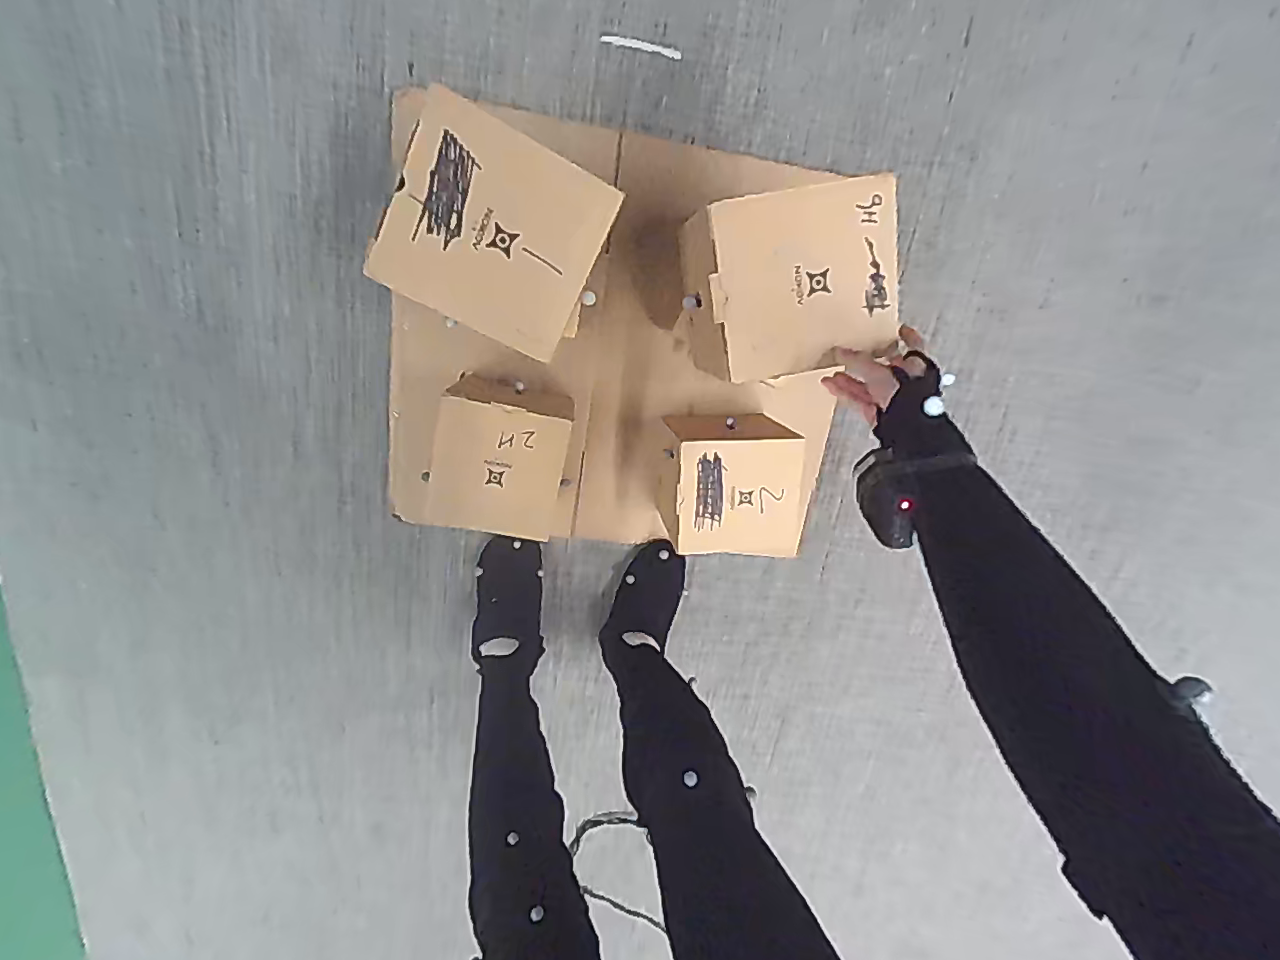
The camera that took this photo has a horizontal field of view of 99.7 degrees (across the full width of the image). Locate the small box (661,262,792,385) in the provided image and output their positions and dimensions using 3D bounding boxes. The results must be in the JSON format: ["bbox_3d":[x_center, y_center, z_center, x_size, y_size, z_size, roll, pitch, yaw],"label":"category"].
[{"bbox_3d":[0.142,-0.253,0.743,0.168,0.176,0.179,25,102,-13],"label":"small box"}]

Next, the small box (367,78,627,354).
[{"bbox_3d":[-0.133,-0.242,0.545,0.179,0.176,0.168,25,103,-14],"label":"small box"}]

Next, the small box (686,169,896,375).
[{"bbox_3d":[0.150,-0.213,0.584,0.179,0.176,0.168,-10,108,-2],"label":"small box"}]

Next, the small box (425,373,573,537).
[{"bbox_3d":[-0.191,-0.043,0.773,0.168,0.176,0.179,12,105,-11],"label":"small box"}]
